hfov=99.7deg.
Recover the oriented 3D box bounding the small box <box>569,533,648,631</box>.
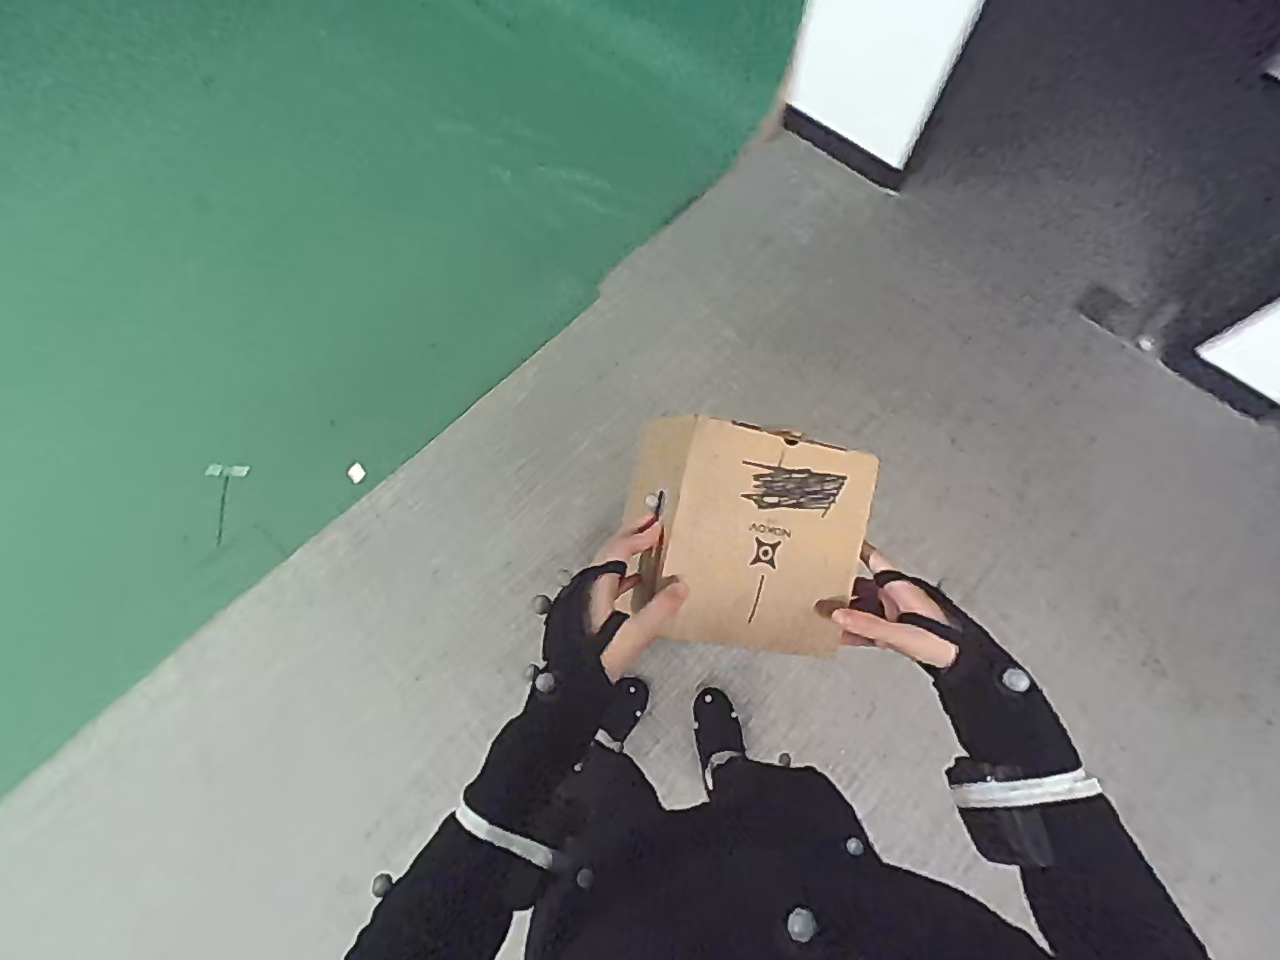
[{"bbox_3d":[-0.046,0.251,1.326,0.179,0.176,0.168,43,78,15],"label":"small box"}]

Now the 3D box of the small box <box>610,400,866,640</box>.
[{"bbox_3d":[0.077,0.031,0.510,0.168,0.176,0.179,10,93,-16],"label":"small box"}]
